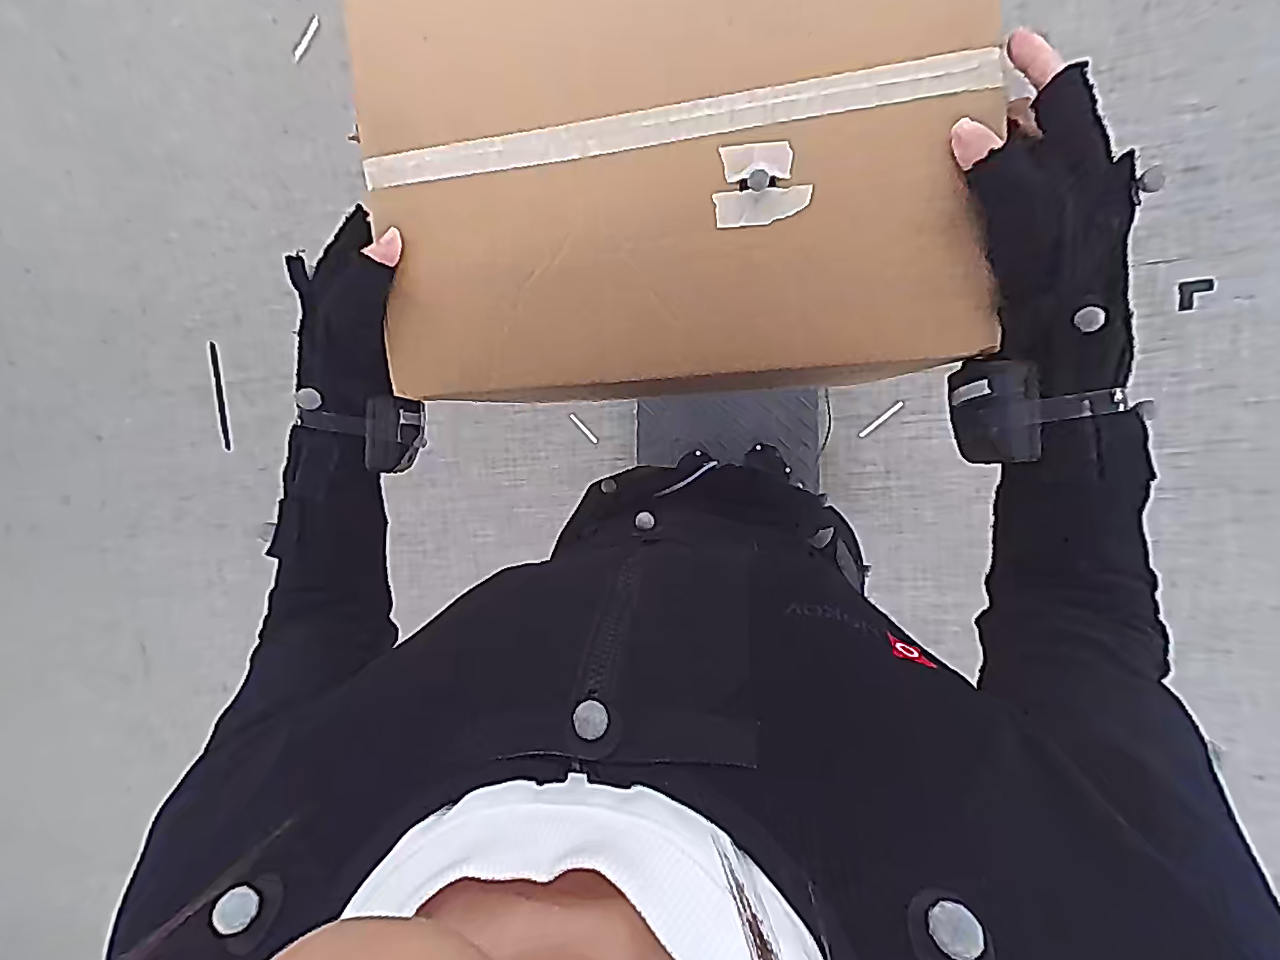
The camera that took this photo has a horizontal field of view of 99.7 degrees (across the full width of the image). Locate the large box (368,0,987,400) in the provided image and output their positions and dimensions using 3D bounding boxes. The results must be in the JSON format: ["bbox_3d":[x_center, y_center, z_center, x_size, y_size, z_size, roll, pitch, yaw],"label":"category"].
[{"bbox_3d":[0.035,-0.248,0.503,0.408,0.320,0.320,-3,97,11],"label":"large box"}]
